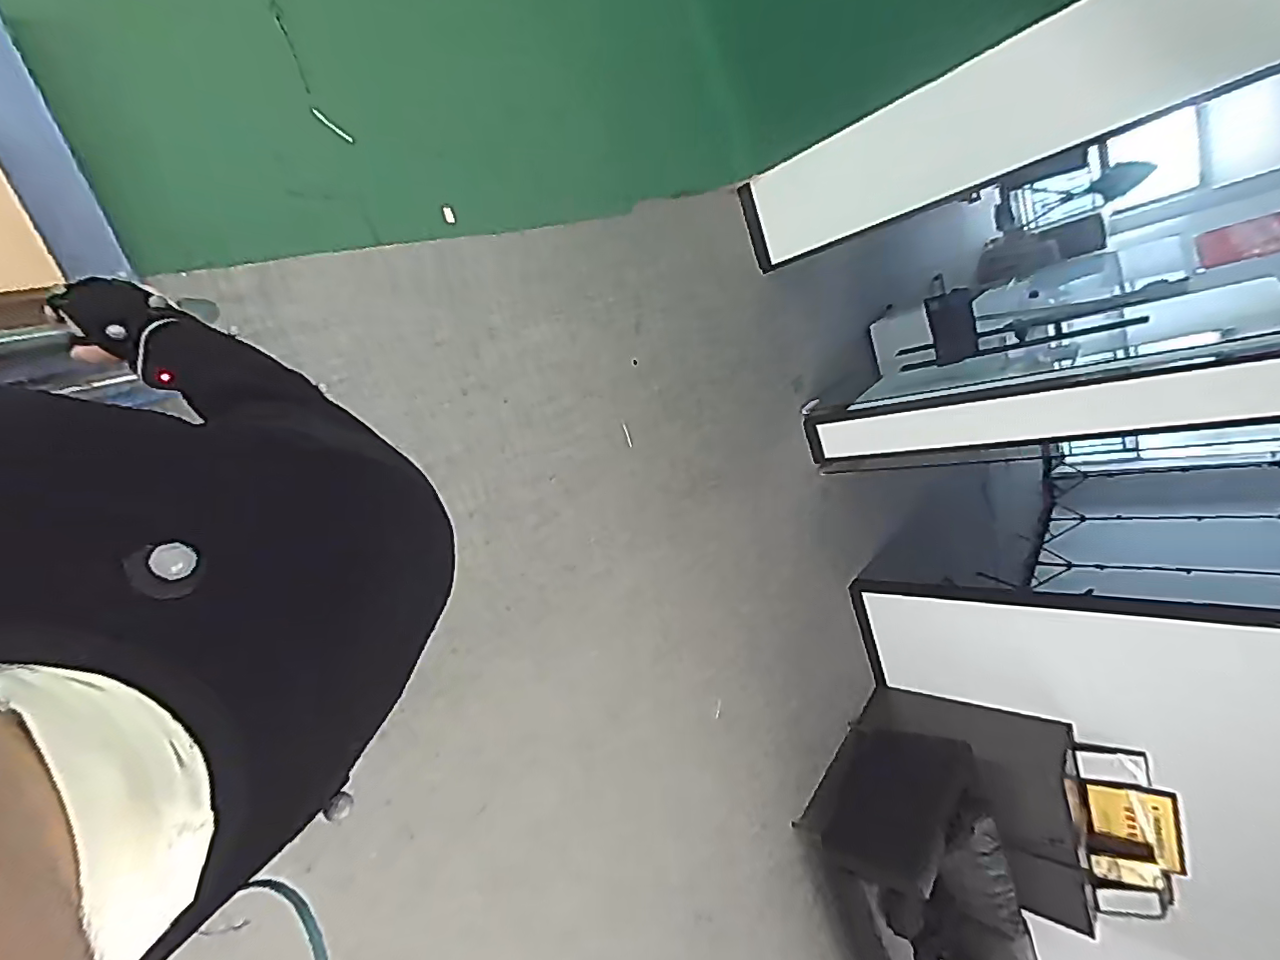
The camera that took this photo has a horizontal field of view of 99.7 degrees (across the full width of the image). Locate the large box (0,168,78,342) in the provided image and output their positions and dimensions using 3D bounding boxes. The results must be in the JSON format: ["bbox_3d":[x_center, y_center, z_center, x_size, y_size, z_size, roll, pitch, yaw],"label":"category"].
[{"bbox_3d":[-1.169,-0.420,0.811,0.320,0.320,0.408,-33,109,-40],"label":"large box"}]
